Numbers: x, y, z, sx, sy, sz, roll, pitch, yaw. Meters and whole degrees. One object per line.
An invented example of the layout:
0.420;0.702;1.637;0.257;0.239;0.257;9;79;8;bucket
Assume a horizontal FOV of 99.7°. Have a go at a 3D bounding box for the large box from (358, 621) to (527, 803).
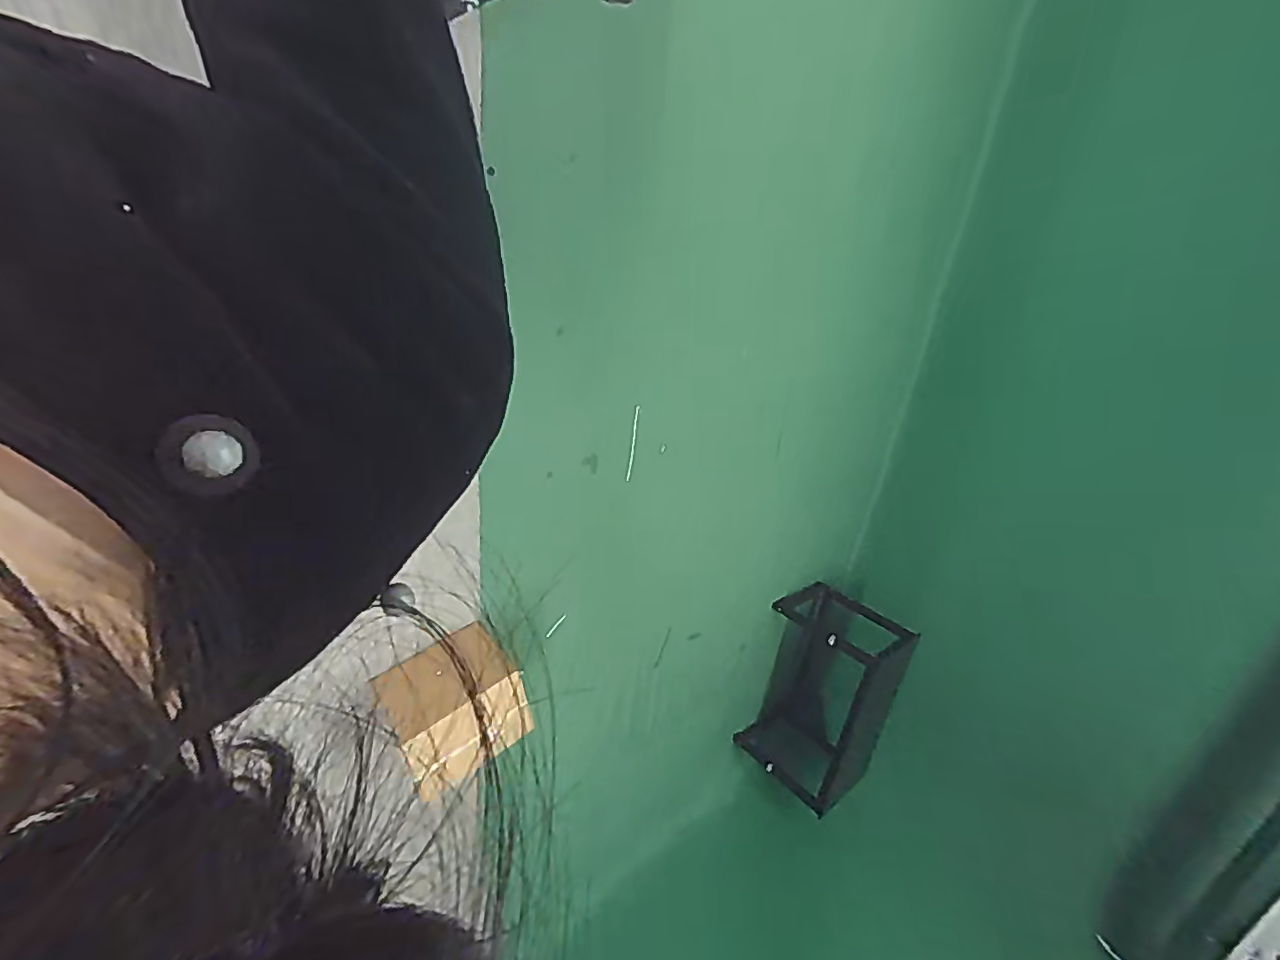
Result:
-0.655;0.759;1.823;0.408;0.320;0.320;-27;129;-33;large box
